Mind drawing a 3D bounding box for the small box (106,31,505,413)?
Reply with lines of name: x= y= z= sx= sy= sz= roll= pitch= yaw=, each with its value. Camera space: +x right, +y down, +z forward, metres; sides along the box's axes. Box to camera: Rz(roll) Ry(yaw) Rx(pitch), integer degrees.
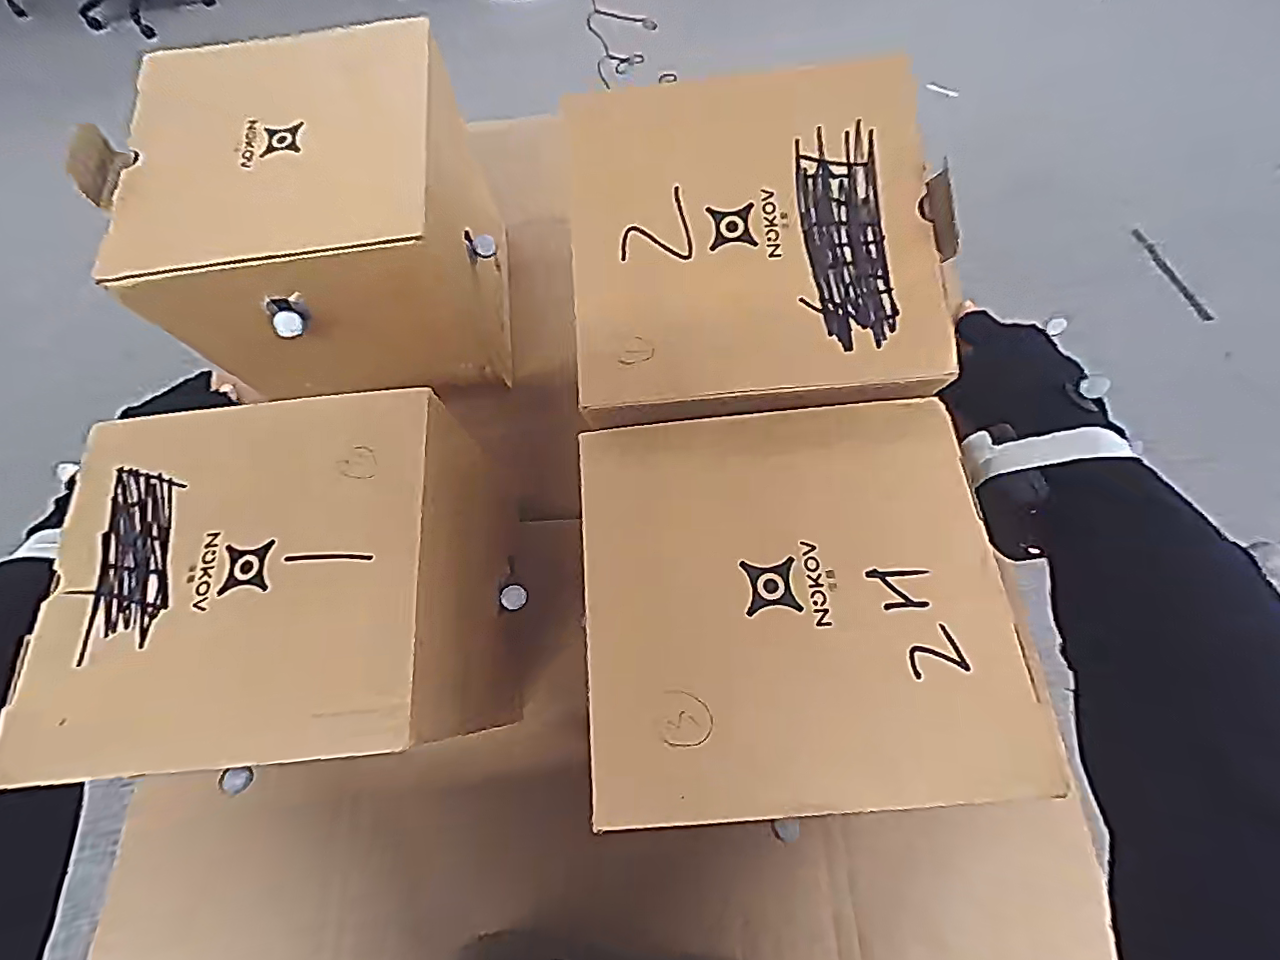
small box: x=-0.200 y=-0.162 z=0.384 sx=0.179 sy=0.176 sz=0.168 roll=-7 pitch=71 yaw=2
